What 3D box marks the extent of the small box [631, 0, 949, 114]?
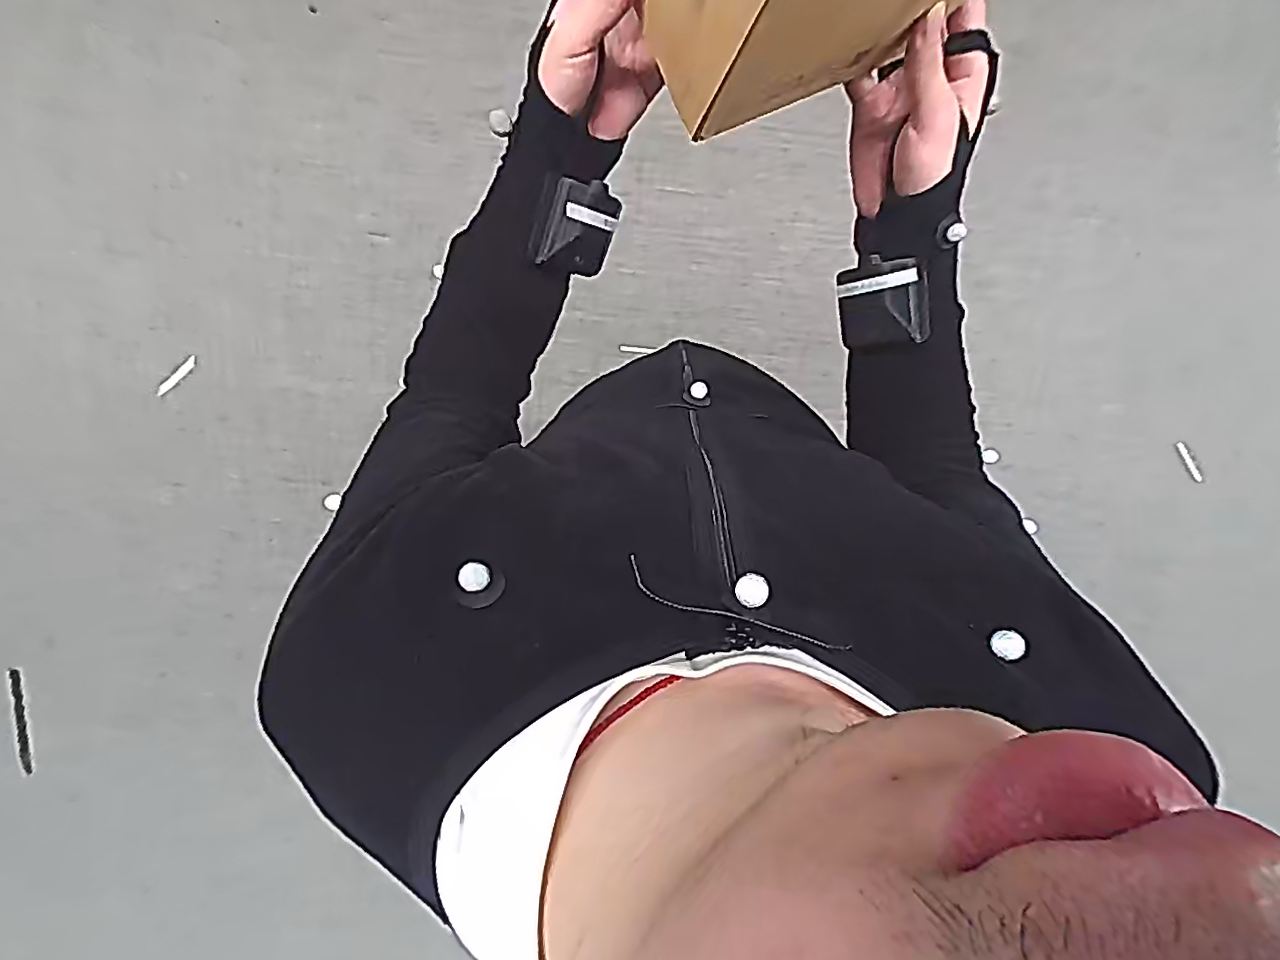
[{"bbox_3d":[0.082,-0.312,0.250,0.168,0.176,0.179,-27,98,-10],"label":"small box"}]
